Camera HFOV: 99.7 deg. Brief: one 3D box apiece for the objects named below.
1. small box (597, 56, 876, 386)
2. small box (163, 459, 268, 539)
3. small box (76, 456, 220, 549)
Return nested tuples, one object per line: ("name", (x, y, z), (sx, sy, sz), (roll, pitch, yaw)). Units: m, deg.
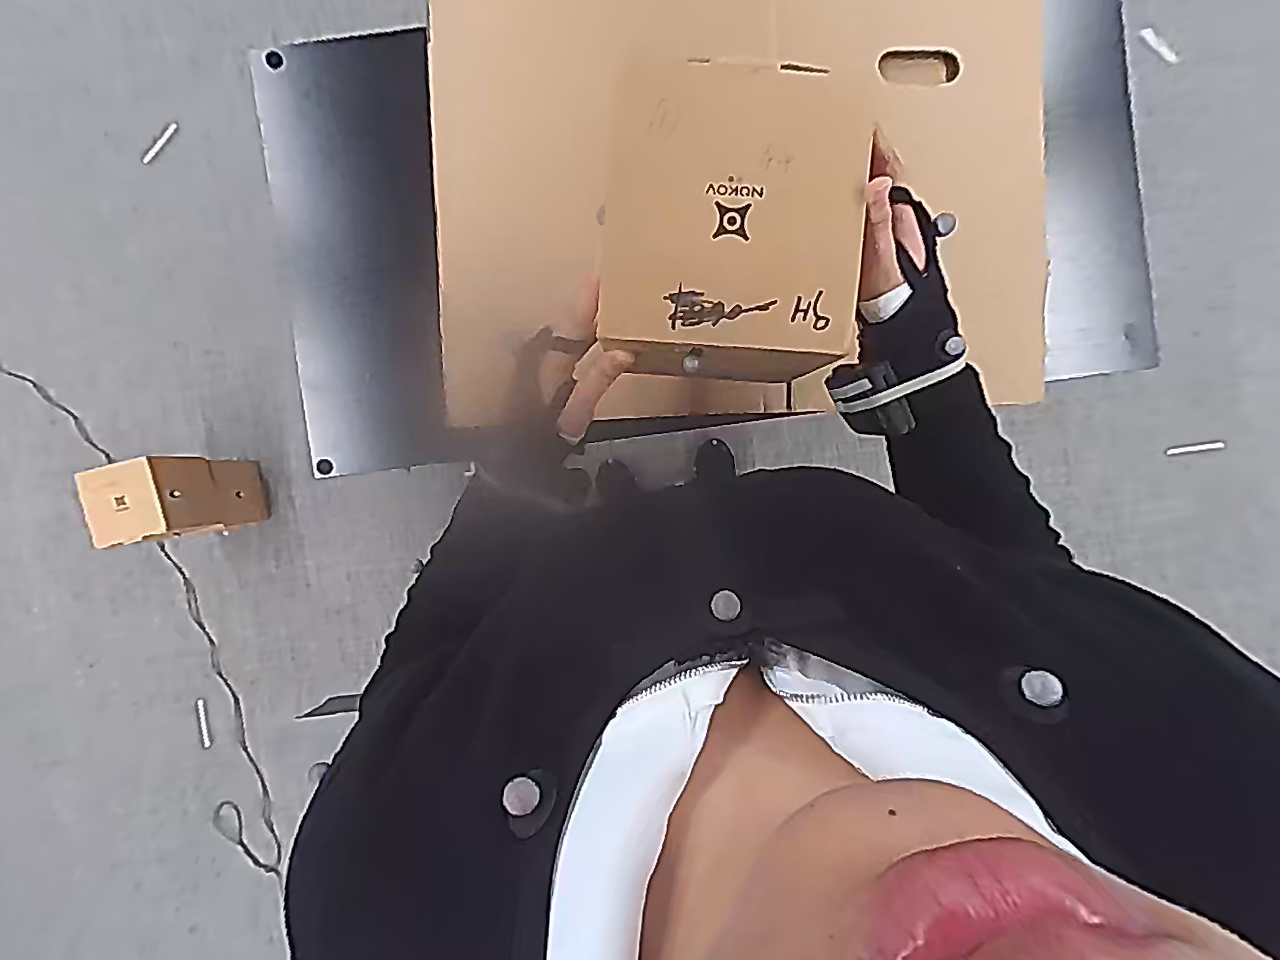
("small box", (0.061, -0.176, 0.419), (0.168, 0.176, 0.179), (4, 93, 2))
("small box", (-1.129, 0.046, 1.424), (0.168, 0.176, 0.179), (-12, 93, 1))
("small box", (-1.132, 0.047, 1.262), (0.168, 0.176, 0.179), (-15, 91, 0))
